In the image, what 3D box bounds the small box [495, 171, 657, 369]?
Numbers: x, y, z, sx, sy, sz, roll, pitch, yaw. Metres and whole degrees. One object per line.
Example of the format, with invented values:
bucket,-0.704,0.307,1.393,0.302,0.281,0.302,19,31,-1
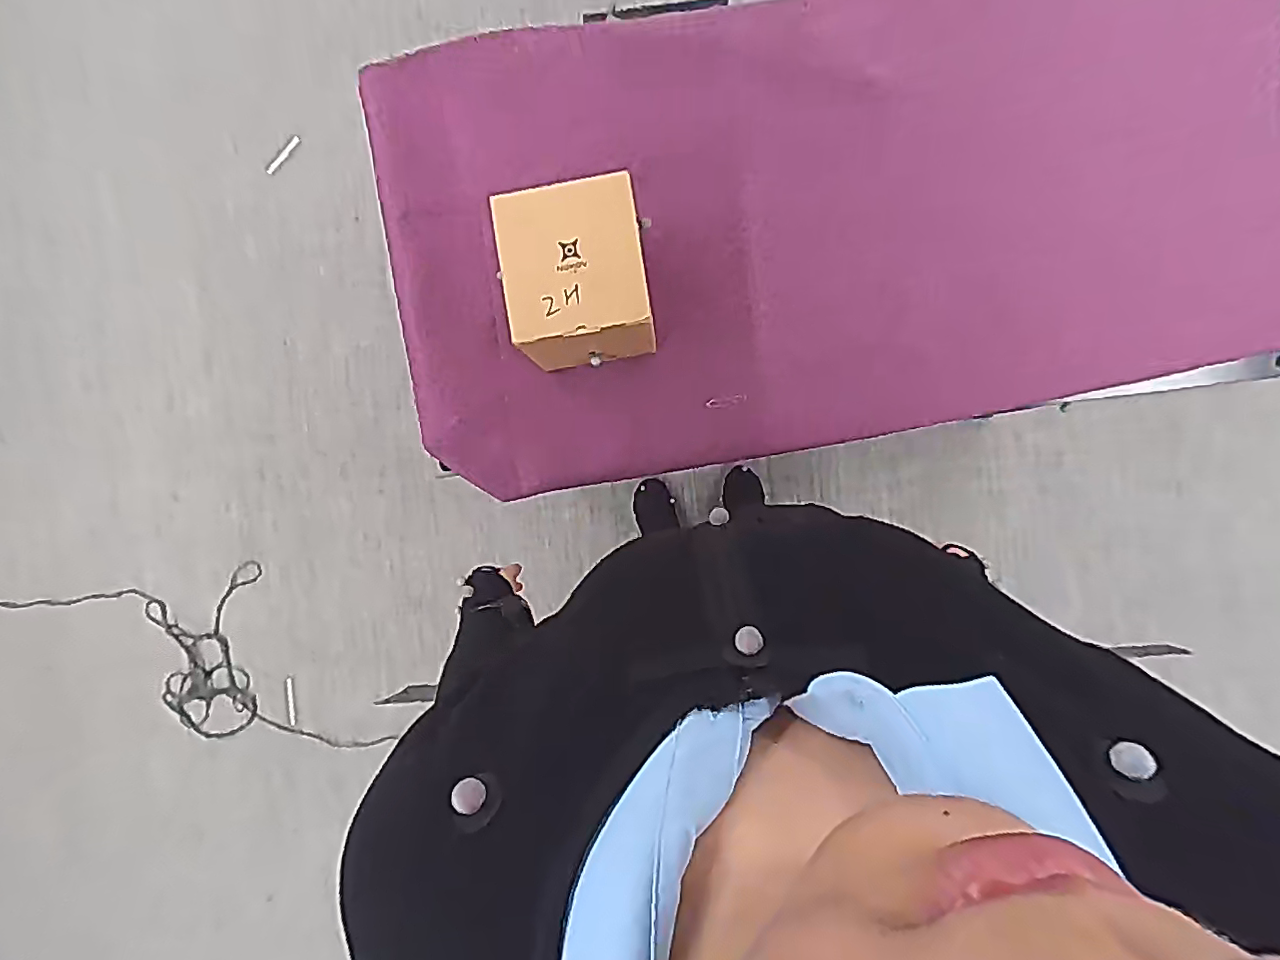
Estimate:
small box,-0.071,-0.254,0.693,0.168,0.176,0.179,-9,91,4
